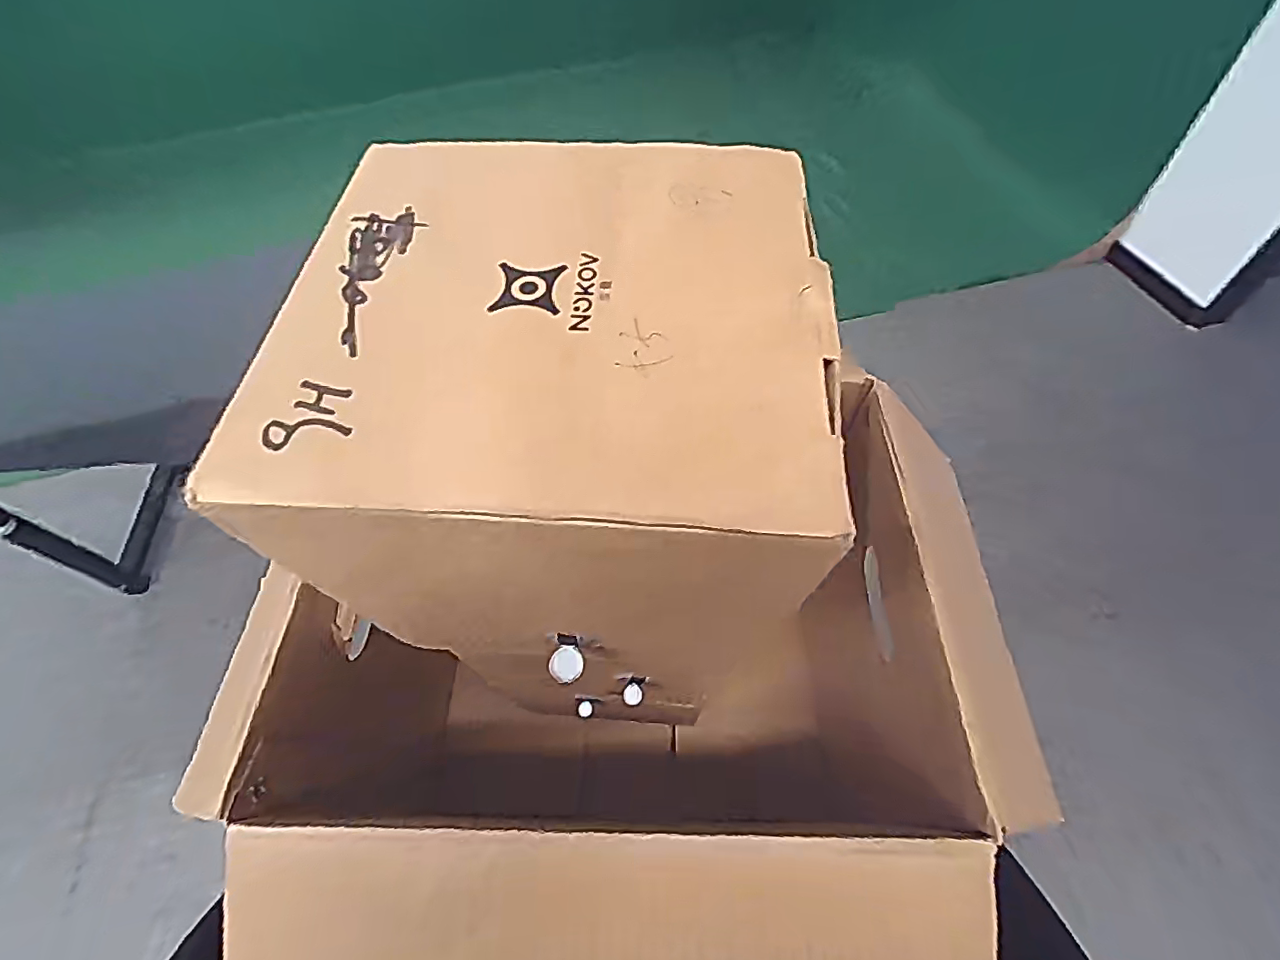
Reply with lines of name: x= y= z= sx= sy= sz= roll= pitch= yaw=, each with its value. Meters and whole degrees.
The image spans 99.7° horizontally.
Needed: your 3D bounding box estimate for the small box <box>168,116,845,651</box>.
small box: x=-0.031 y=-0.026 z=0.244 sx=0.179 sy=0.176 sz=0.168 roll=4 pitch=60 yaw=1
